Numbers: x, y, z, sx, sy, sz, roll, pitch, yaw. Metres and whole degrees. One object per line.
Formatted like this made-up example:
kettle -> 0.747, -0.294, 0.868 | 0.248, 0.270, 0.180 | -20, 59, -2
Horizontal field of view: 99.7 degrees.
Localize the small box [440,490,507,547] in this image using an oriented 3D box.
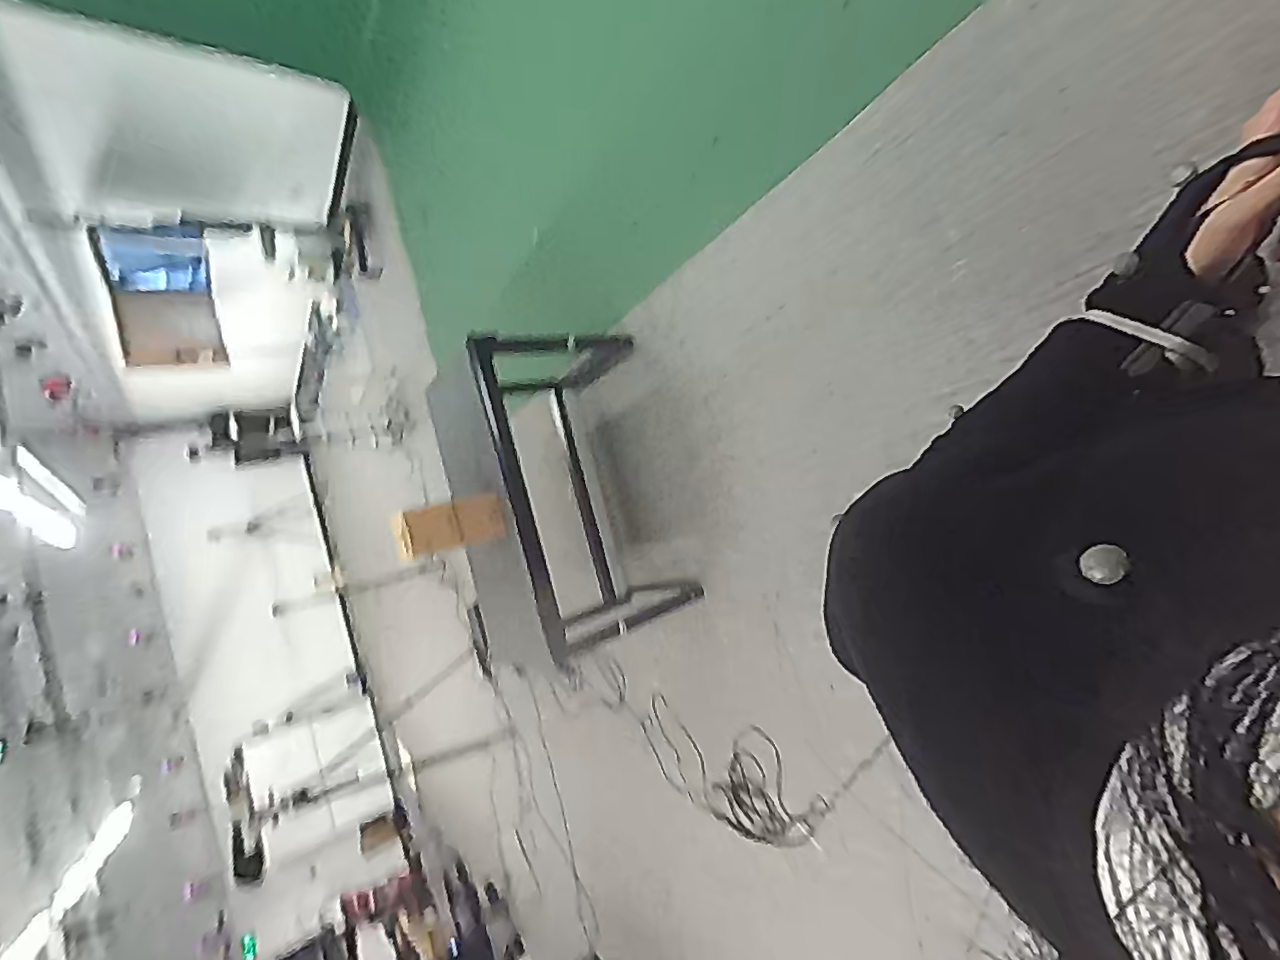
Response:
small box -> -0.602, 0.139, 1.959 | 0.179, 0.176, 0.168 | -18, 87, 53
